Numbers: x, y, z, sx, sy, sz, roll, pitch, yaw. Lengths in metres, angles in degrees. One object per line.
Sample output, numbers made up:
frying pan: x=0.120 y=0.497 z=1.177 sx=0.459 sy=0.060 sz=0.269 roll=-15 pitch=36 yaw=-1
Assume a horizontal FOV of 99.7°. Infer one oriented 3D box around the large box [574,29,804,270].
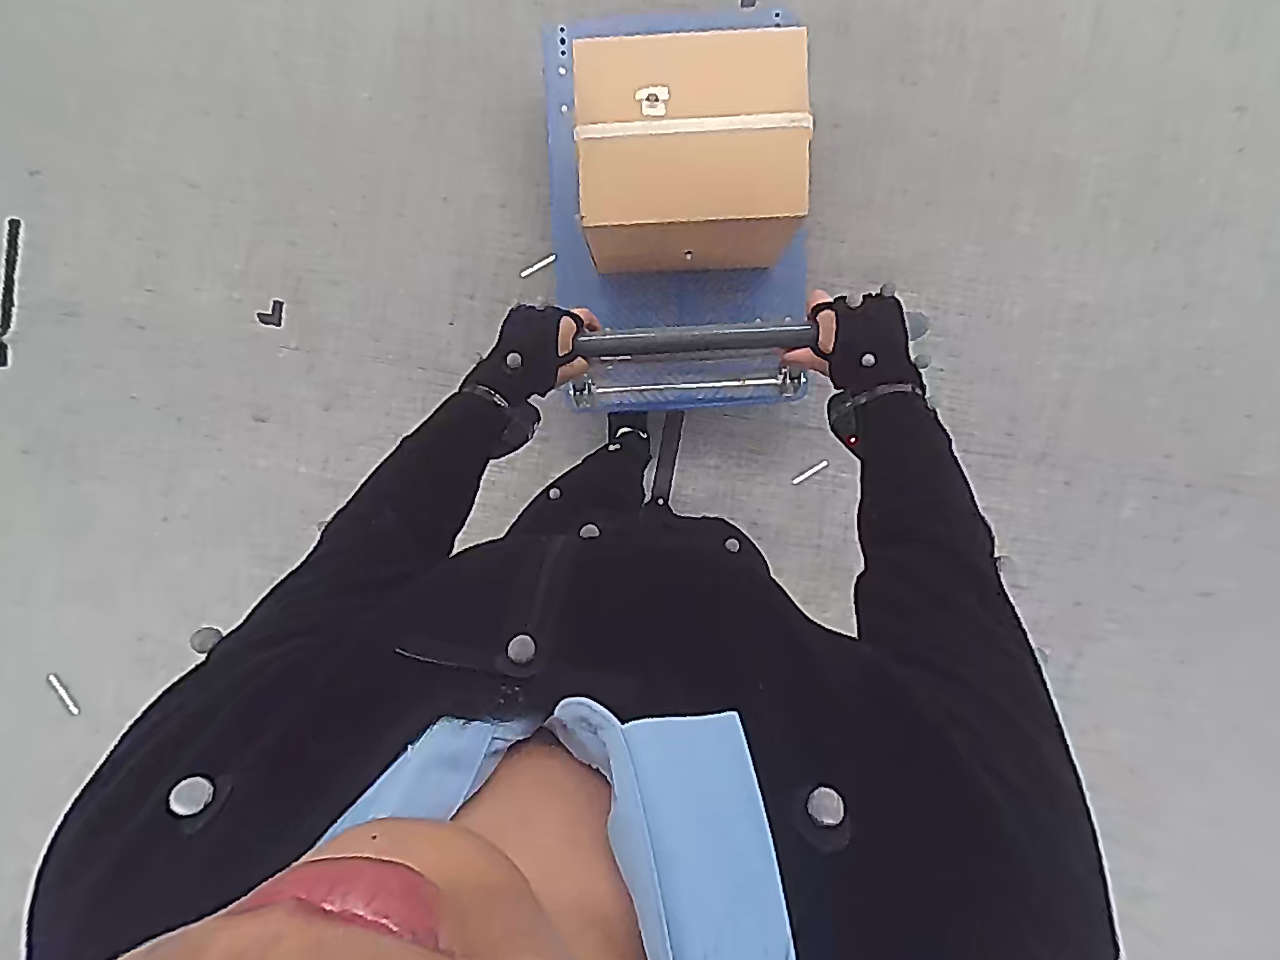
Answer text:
large box: x=0.096 y=-0.639 z=1.110 sx=0.408 sy=0.320 sz=0.320 roll=-2 pitch=95 yaw=3
